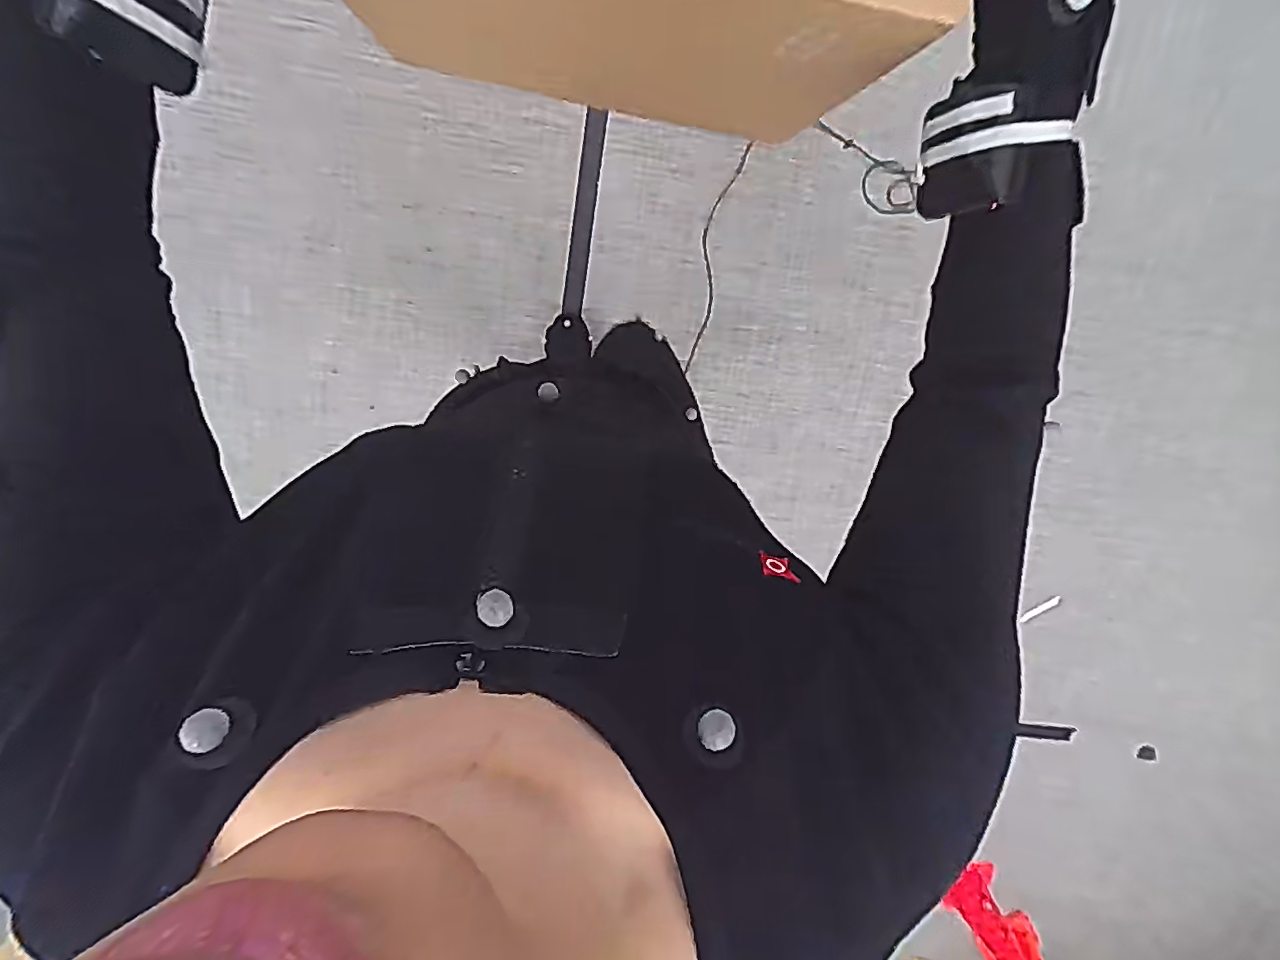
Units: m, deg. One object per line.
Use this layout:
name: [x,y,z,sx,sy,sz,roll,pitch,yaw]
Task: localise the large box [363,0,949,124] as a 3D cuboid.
large box: [-0.005,-0.487,0.367,0.408,0.320,0.320,6,111,-9]
